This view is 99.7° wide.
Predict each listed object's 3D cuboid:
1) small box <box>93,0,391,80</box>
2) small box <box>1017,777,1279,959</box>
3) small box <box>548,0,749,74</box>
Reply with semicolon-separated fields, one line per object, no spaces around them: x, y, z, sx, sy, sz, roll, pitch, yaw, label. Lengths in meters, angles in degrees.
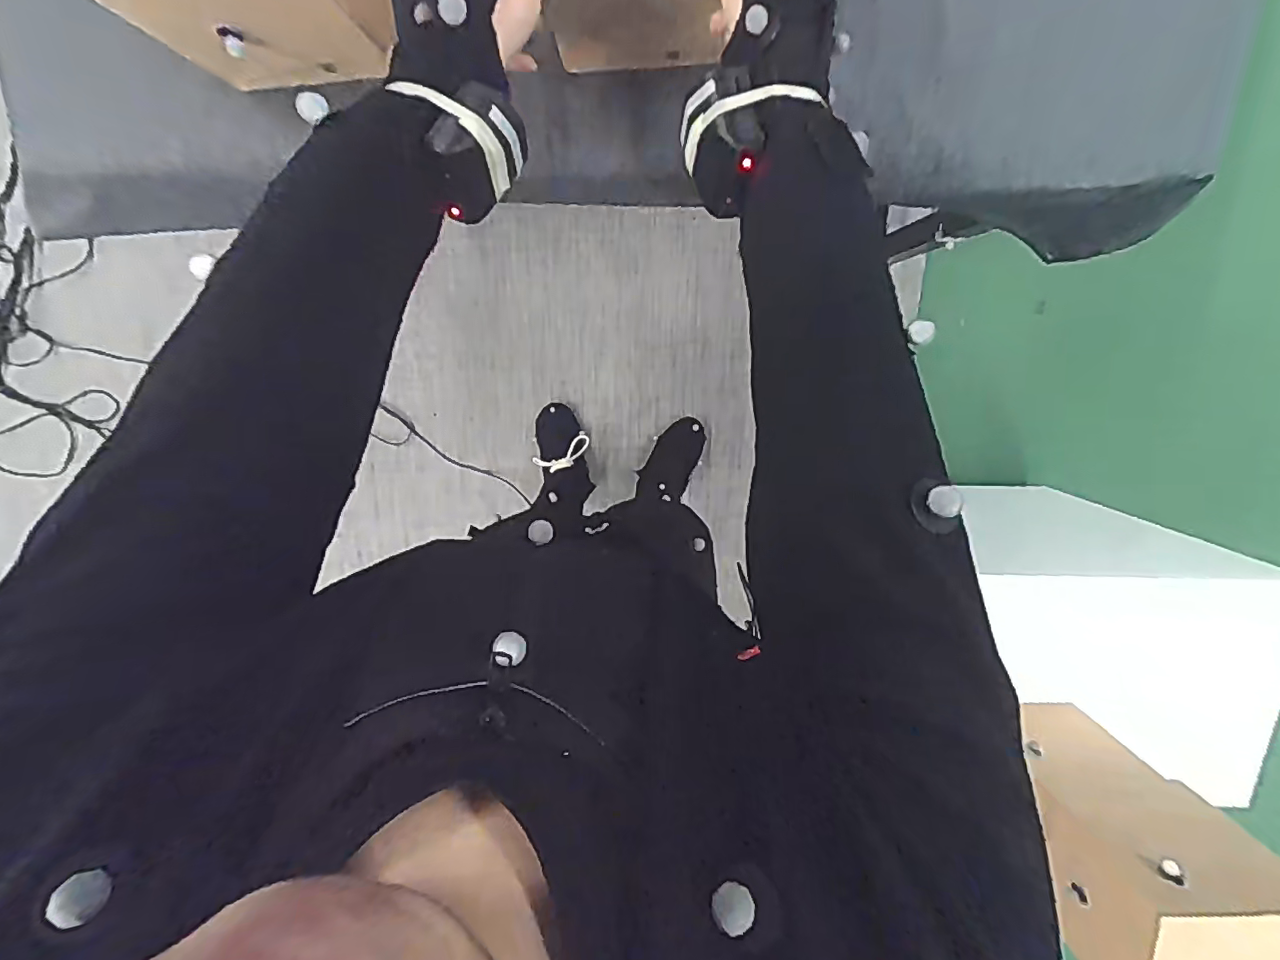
-0.321;-0.450;0.429;0.168;0.176;0.179;-4;103;1;small box
0.577;0.472;0.621;0.179;0.176;0.168;-3;103;0;small box
0.003;-0.463;0.427;0.168;0.176;0.179;-3;104;0;small box
